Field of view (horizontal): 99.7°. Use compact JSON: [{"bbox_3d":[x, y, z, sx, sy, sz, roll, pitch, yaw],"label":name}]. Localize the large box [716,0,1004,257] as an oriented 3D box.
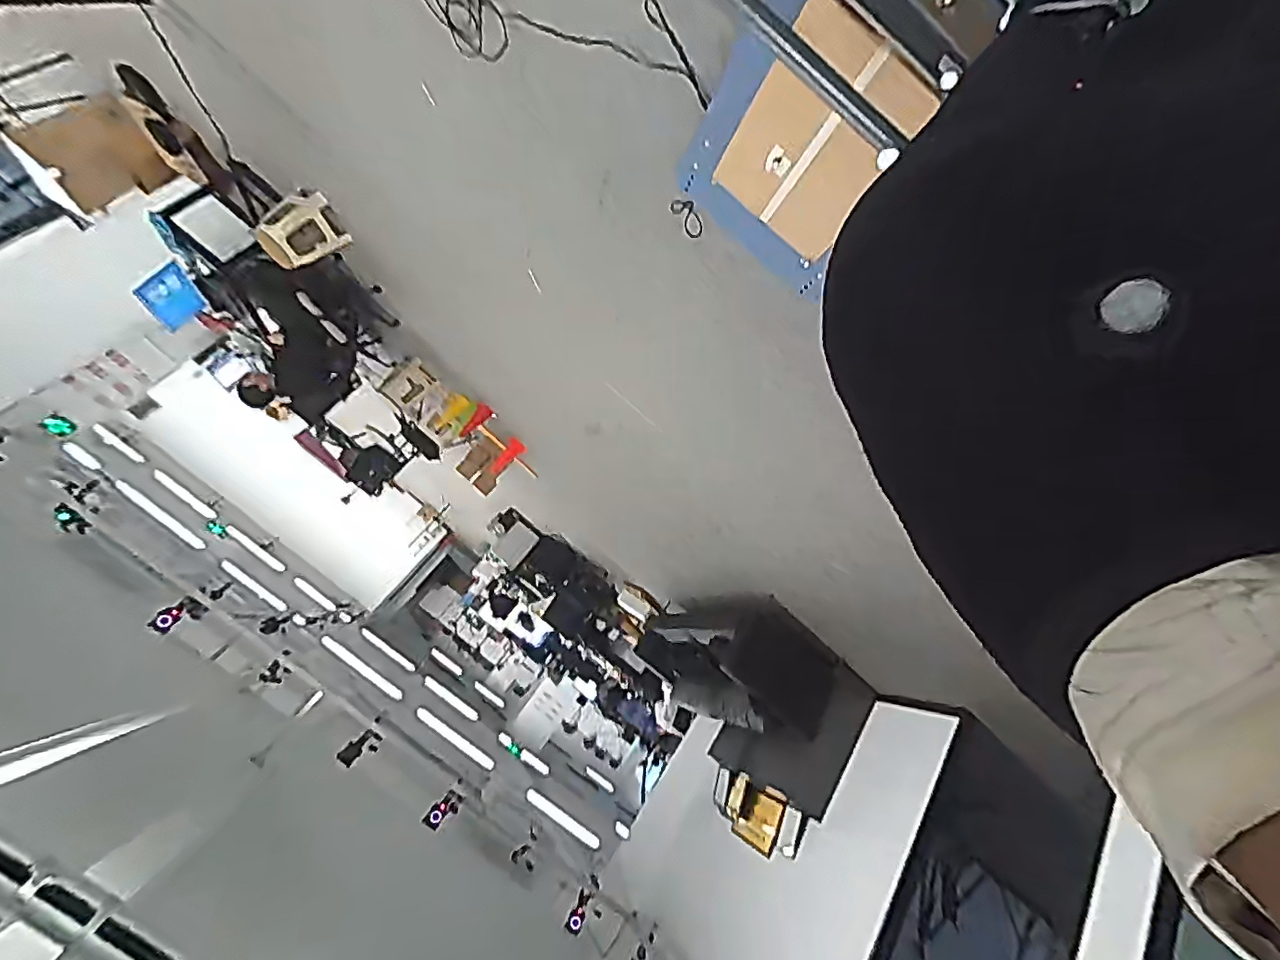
[{"bbox_3d":[0.429,-0.772,1.118,0.320,0.320,0.408,40,158,-4],"label":"large box"}]
